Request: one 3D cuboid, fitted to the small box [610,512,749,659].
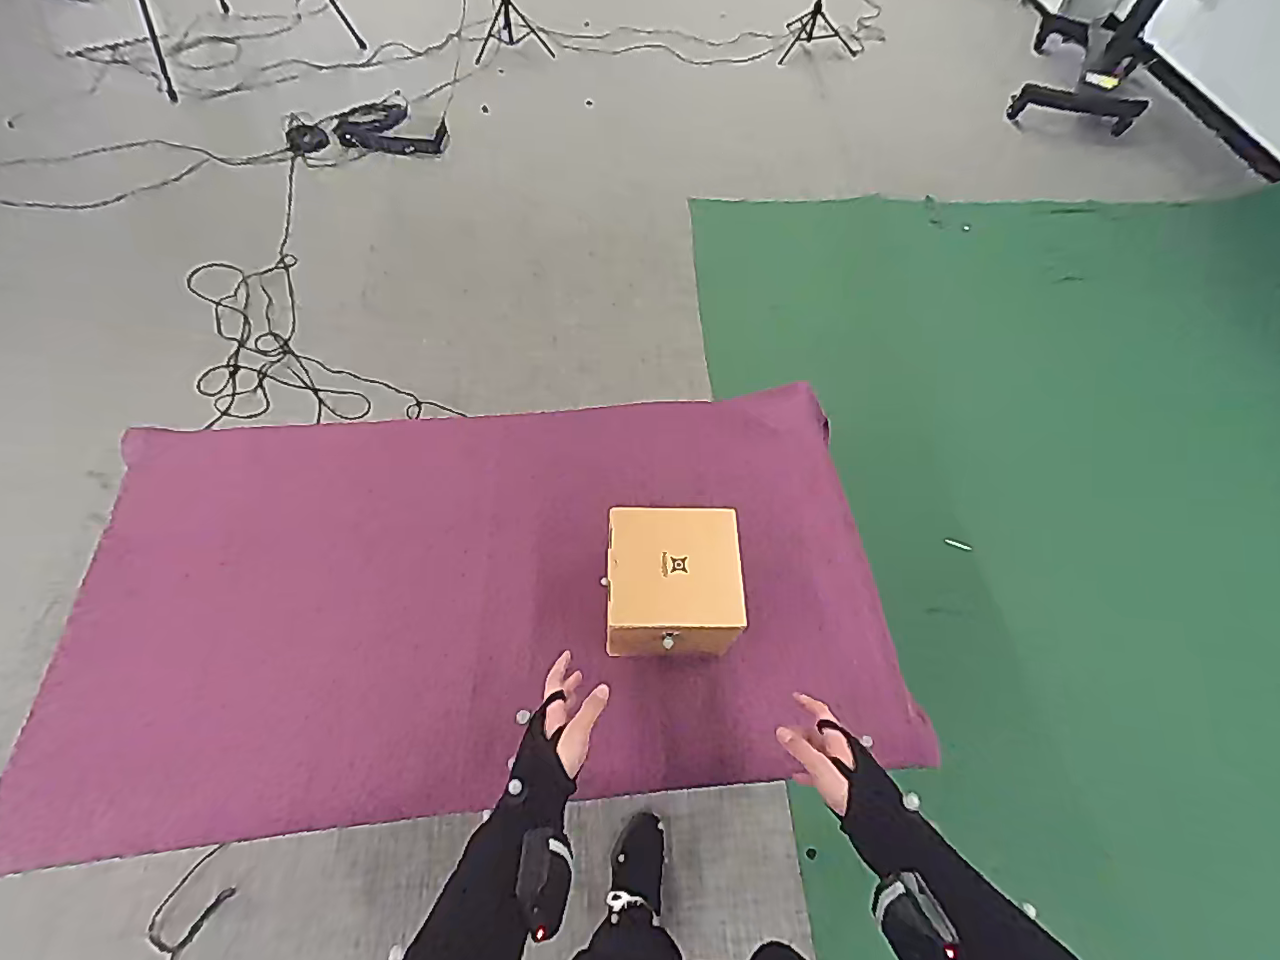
[{"bbox_3d":[0.047,0.156,0.775,0.179,0.176,0.168,1,61,-1],"label":"small box"}]
